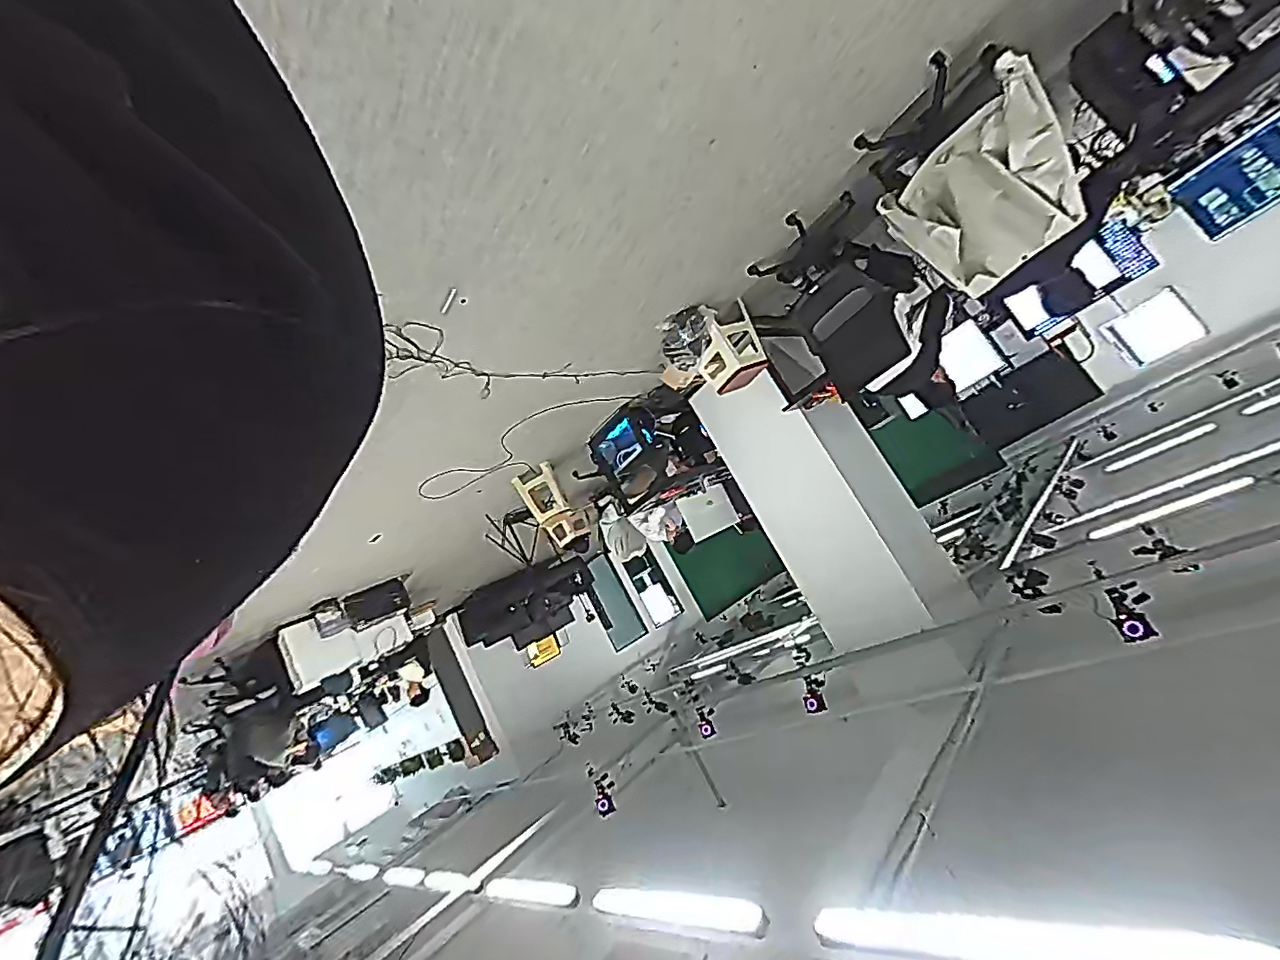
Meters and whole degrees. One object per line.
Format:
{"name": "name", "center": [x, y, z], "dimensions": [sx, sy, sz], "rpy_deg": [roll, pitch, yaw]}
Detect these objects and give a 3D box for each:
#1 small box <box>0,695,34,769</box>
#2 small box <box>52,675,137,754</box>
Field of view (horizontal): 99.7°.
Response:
{"name": "small box", "center": [-1.859, 0.731, 1.521], "dimensions": [0.168, 0.176, 0.179], "rpy_deg": [-17, 164, -46]}
{"name": "small box", "center": [-1.820, 0.779, 1.807], "dimensions": [0.168, 0.176, 0.179], "rpy_deg": [-17, 161, -45]}
